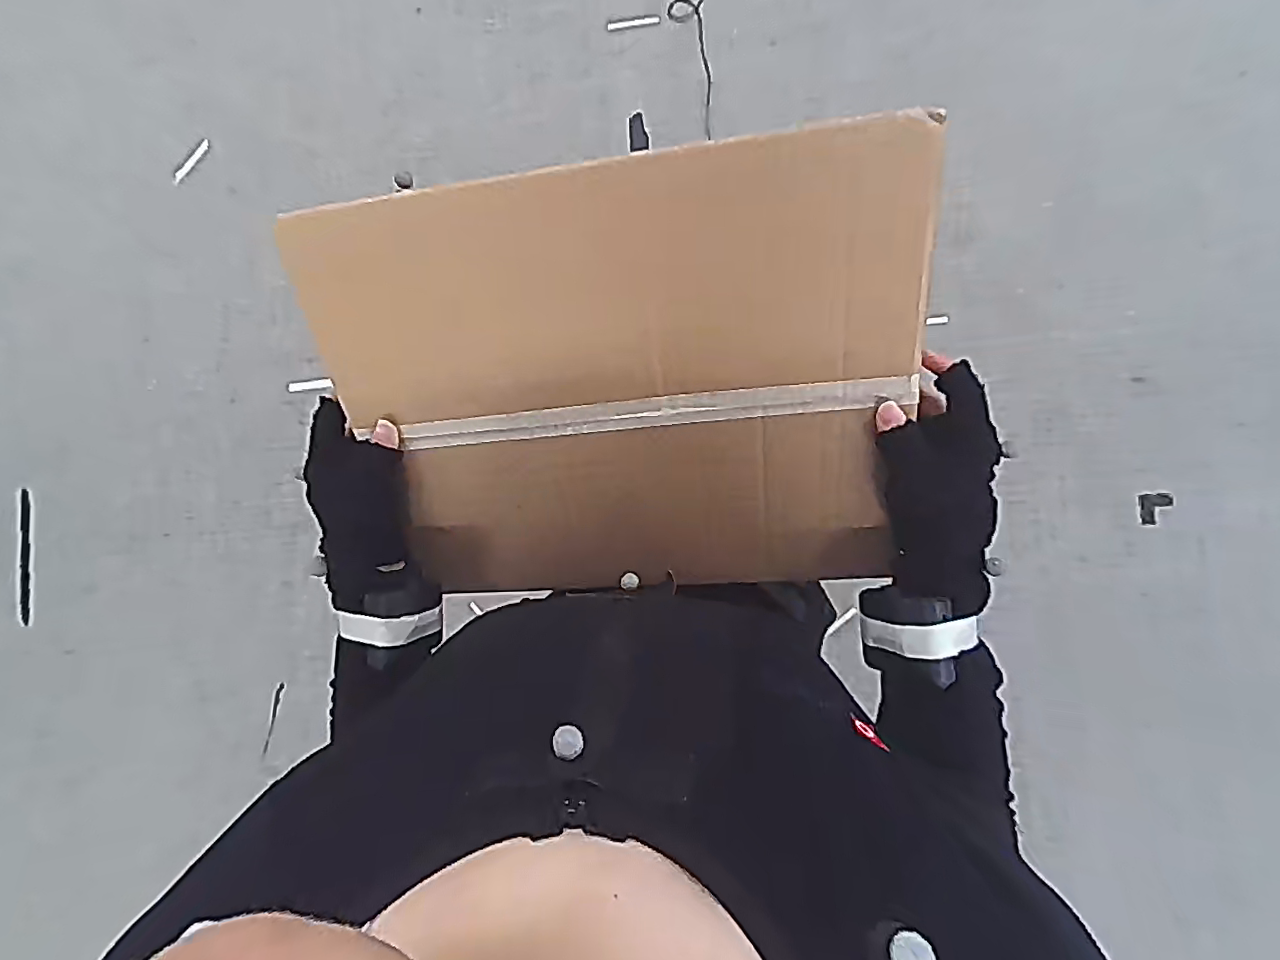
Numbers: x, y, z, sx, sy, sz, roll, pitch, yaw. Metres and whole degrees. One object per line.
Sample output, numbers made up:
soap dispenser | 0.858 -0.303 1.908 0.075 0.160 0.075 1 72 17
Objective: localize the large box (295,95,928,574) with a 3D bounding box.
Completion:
large box | -0.001 -0.133 0.524 0.408 0.320 0.320 -4 120 9
